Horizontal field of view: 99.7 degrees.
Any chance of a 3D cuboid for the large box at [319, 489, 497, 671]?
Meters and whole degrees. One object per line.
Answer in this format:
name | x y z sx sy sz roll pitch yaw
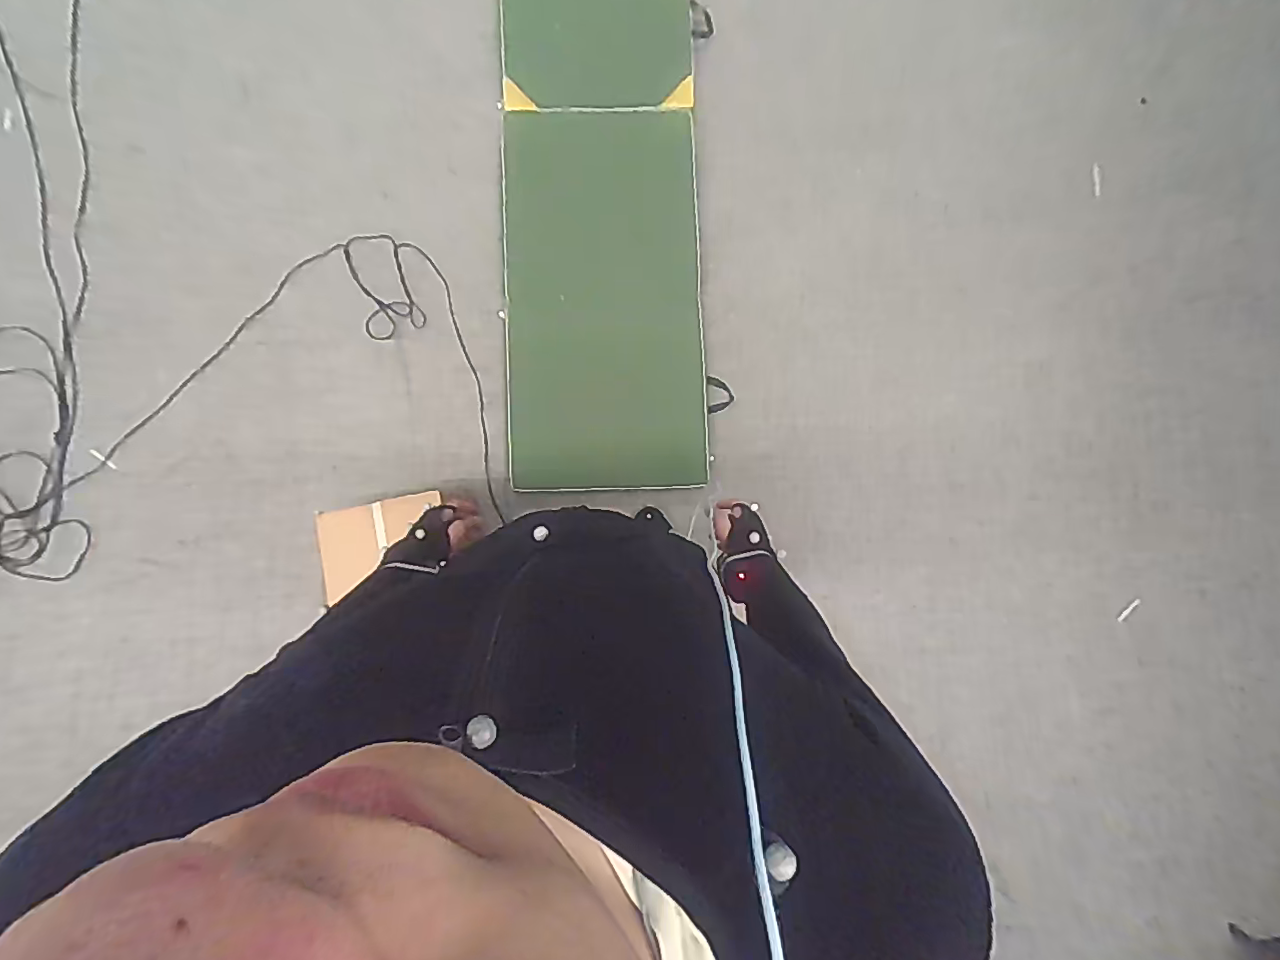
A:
large box | -0.614 0.257 1.485 0.320 0.320 0.408 -11 86 -2
